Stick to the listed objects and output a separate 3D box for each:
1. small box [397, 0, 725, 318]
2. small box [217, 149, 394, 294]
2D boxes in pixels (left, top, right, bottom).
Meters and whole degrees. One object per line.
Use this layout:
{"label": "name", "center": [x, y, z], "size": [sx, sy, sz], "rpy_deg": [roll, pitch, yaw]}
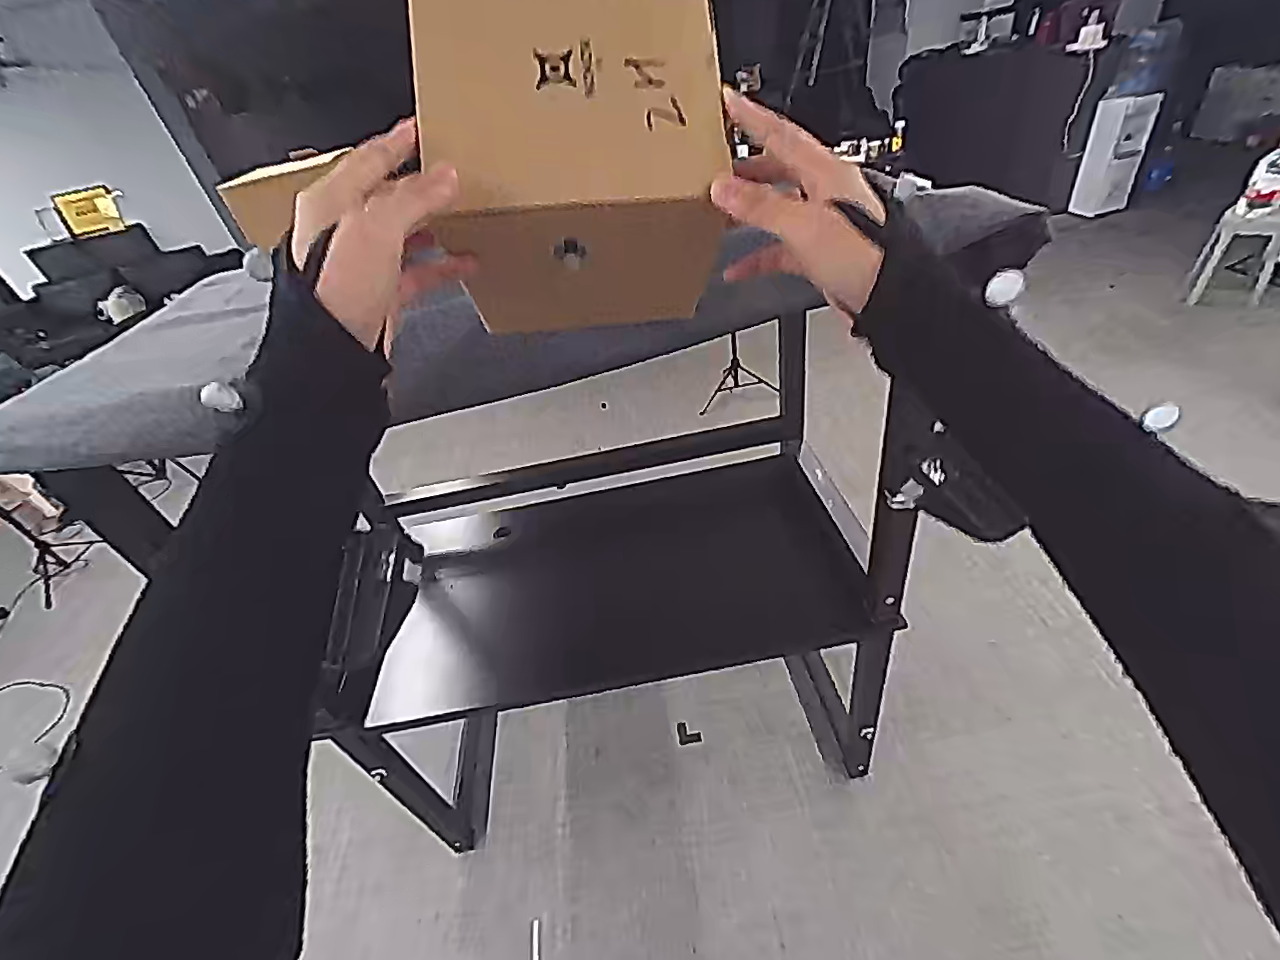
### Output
{"label": "small box", "center": [-0.049, -0.226, 0.382], "size": [0.179, 0.168, 0.176], "rpy_deg": [-5, -6, -4]}
{"label": "small box", "center": [-0.527, -0.424, 0.887], "size": [0.168, 0.176, 0.179], "rpy_deg": [-16, 38, -3]}
